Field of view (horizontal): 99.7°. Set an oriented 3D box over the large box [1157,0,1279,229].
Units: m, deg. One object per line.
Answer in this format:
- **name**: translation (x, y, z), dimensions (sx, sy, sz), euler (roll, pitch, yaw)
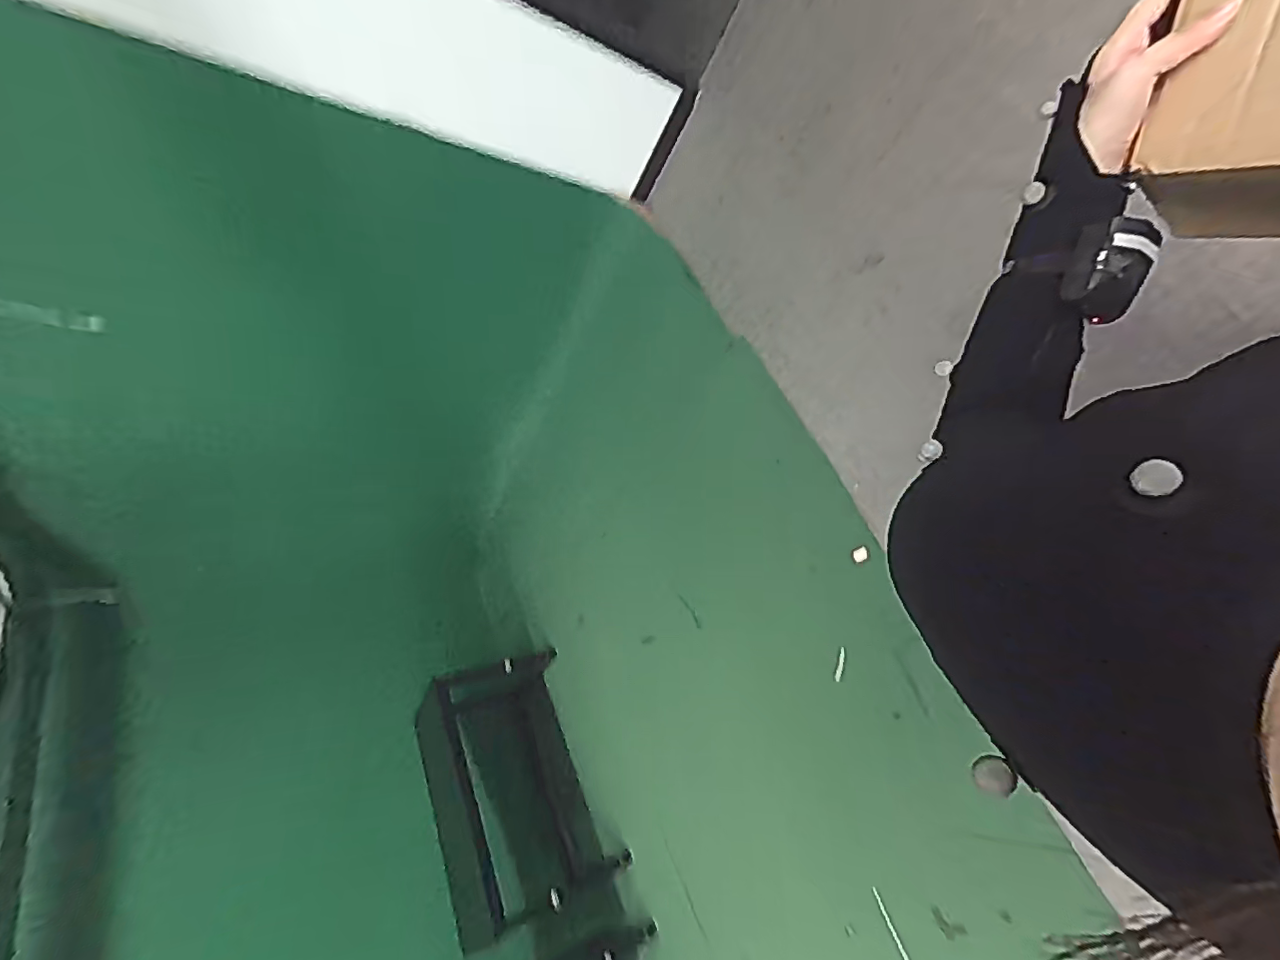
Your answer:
- **large box**: translation (0.622, -0.343, 0.309), dimensions (0.408, 0.320, 0.320), euler (23, 115, 43)
